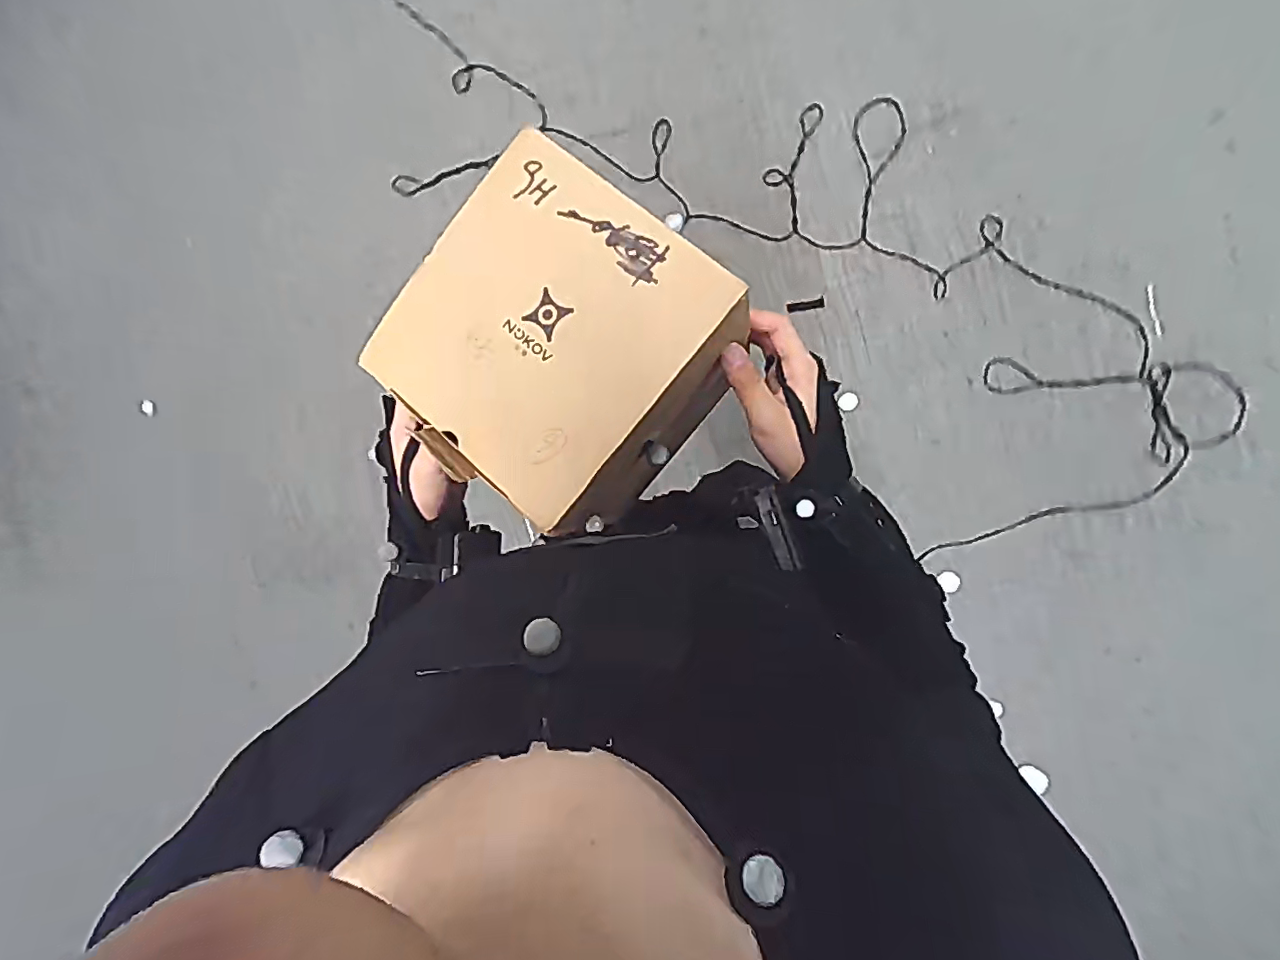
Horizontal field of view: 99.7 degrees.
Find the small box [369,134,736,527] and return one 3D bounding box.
[{"bbox_3d":[-0.042,-0.087,0.395,0.168,0.176,0.179,41,98,9],"label":"small box"}]
